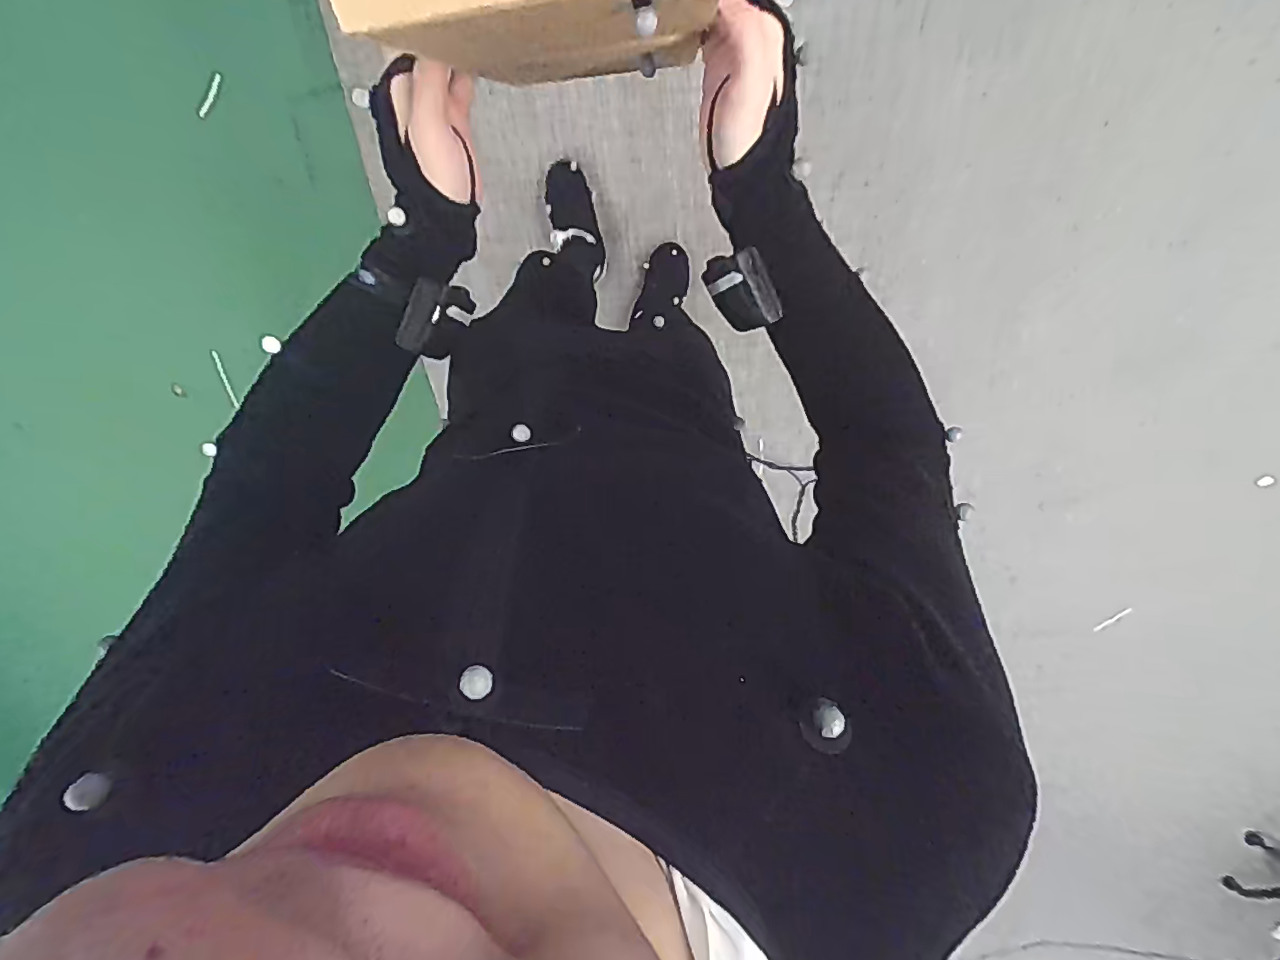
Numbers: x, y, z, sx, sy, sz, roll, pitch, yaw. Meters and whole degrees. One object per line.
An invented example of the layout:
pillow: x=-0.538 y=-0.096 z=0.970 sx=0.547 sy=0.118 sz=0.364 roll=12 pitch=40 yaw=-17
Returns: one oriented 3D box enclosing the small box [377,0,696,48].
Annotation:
small box: x=-0.052 y=-0.321 z=0.245 sx=0.179 sy=0.176 sz=0.168 roll=-5 pitch=122 yaw=6
